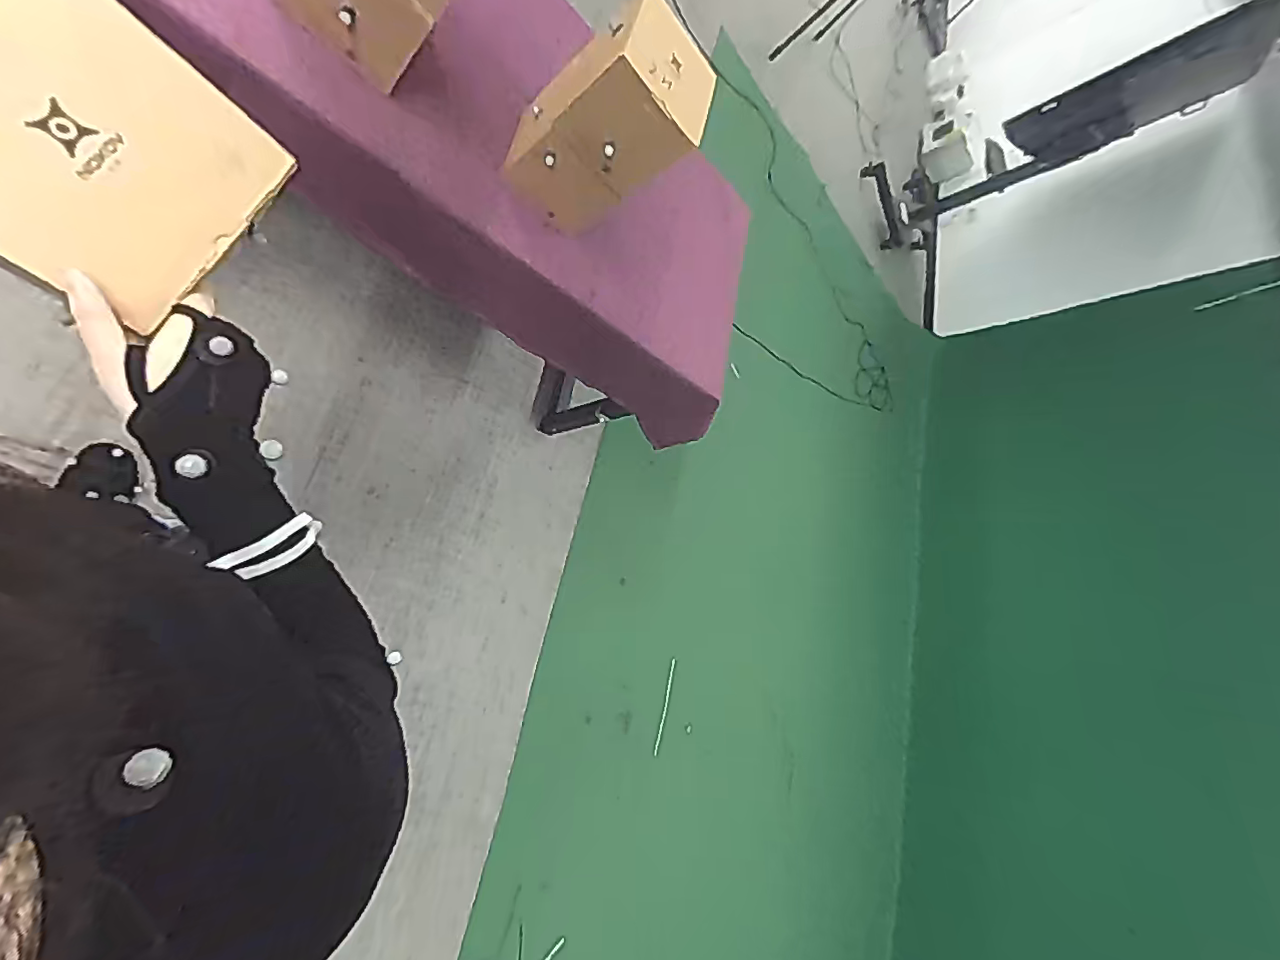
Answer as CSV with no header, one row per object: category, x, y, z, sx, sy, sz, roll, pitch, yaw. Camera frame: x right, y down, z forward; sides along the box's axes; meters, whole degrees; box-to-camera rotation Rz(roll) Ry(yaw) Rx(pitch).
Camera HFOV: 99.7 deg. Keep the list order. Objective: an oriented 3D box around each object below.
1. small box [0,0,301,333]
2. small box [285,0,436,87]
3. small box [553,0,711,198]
small box,-0.389,-0.224,0.381,0.179,0.176,0.168,41,71,-40
small box,-0.371,-0.704,0.746,0.168,0.176,0.179,30,66,-40
small box,-0.014,-0.600,0.861,0.168,0.176,0.179,32,64,-38
